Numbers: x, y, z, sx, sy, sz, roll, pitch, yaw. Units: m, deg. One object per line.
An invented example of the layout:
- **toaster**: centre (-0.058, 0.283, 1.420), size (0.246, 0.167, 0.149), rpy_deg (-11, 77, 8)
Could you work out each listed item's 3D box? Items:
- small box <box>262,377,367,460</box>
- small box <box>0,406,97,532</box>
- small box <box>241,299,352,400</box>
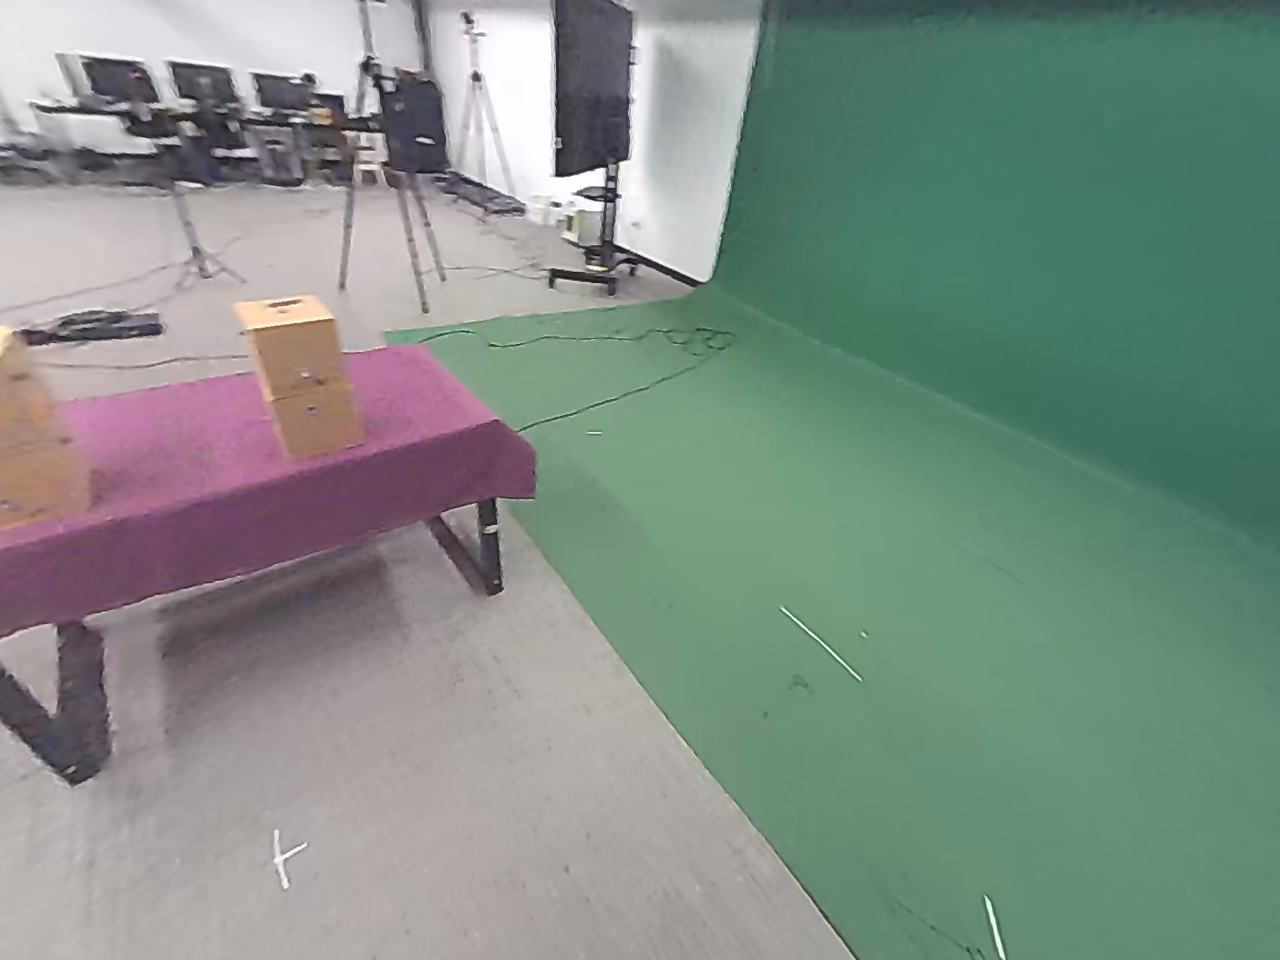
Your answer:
- **small box**: centre (-0.810, -0.169, 1.353), size (0.179, 0.176, 0.168), rpy_deg (-19, 43, -32)
- **small box**: centre (-1.226, -0.023, 1.074), size (0.168, 0.176, 0.179), rpy_deg (-19, 44, -33)
- **small box**: centre (-0.798, -0.307, 1.263), size (0.168, 0.176, 0.179), rpy_deg (-22, 45, -34)
